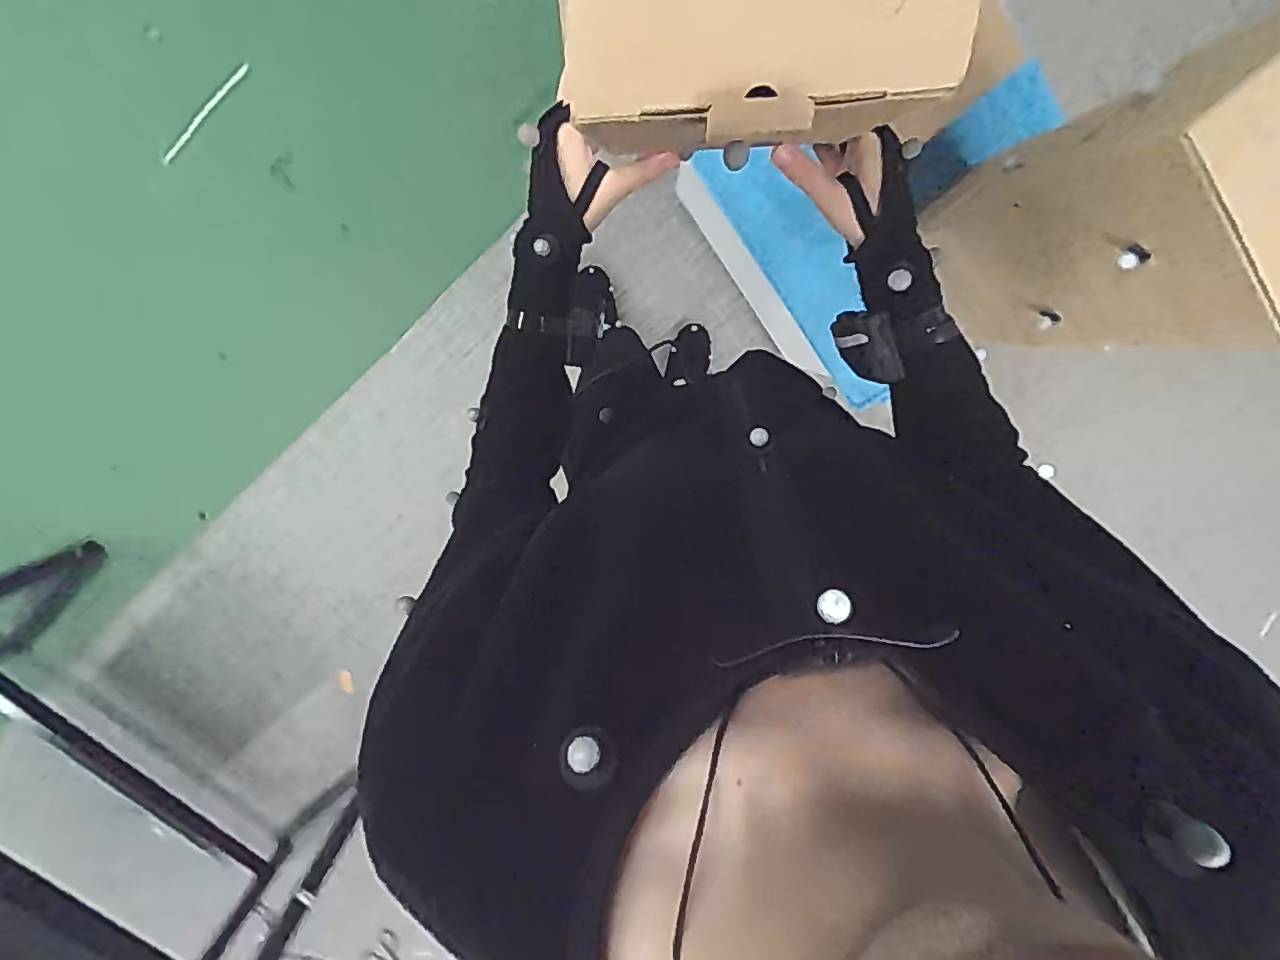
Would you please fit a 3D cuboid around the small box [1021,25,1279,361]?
[{"bbox_3d":[0.443,-0.211,0.401,0.168,0.176,0.179,-37,101,10],"label":"small box"}]

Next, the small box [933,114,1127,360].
[{"bbox_3d":[0.452,-0.248,0.561,0.168,0.176,0.179,-39,101,10],"label":"small box"}]

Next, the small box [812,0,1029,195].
[{"bbox_3d":[0.313,-0.488,0.667,0.179,0.176,0.168,-35,104,9],"label":"small box"}]

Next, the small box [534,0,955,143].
[{"bbox_3d":[0.042,-0.269,0.258,0.168,0.176,0.179,-1,117,4],"label":"small box"}]
